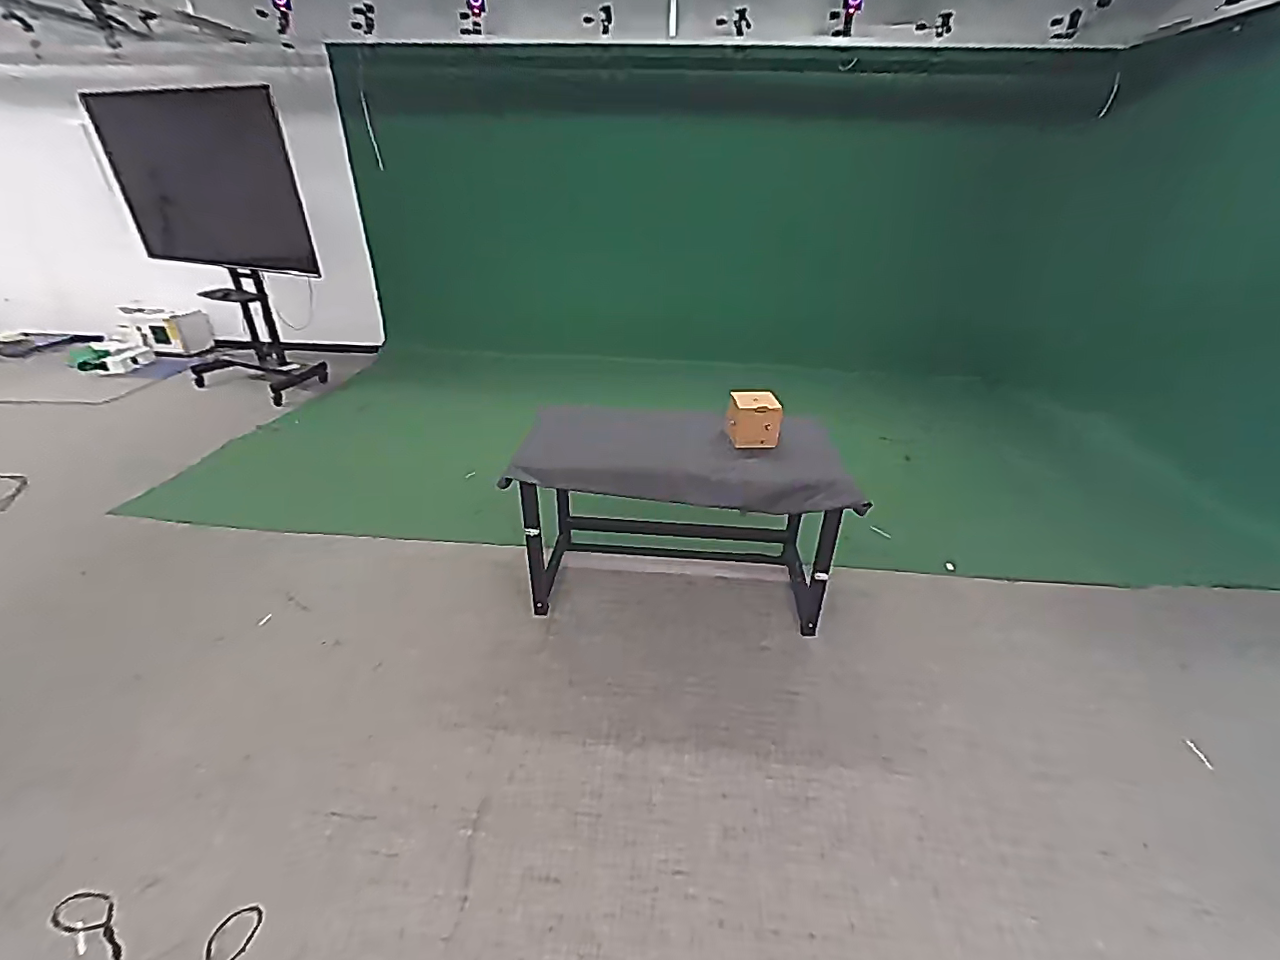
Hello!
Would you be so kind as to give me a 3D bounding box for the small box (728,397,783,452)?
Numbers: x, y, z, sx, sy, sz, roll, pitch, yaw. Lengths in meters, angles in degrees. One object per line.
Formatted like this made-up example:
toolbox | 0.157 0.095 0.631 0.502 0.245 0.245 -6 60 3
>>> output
small box | 0.449 -0.219 2.125 0.168 0.176 0.179 1 28 -4
